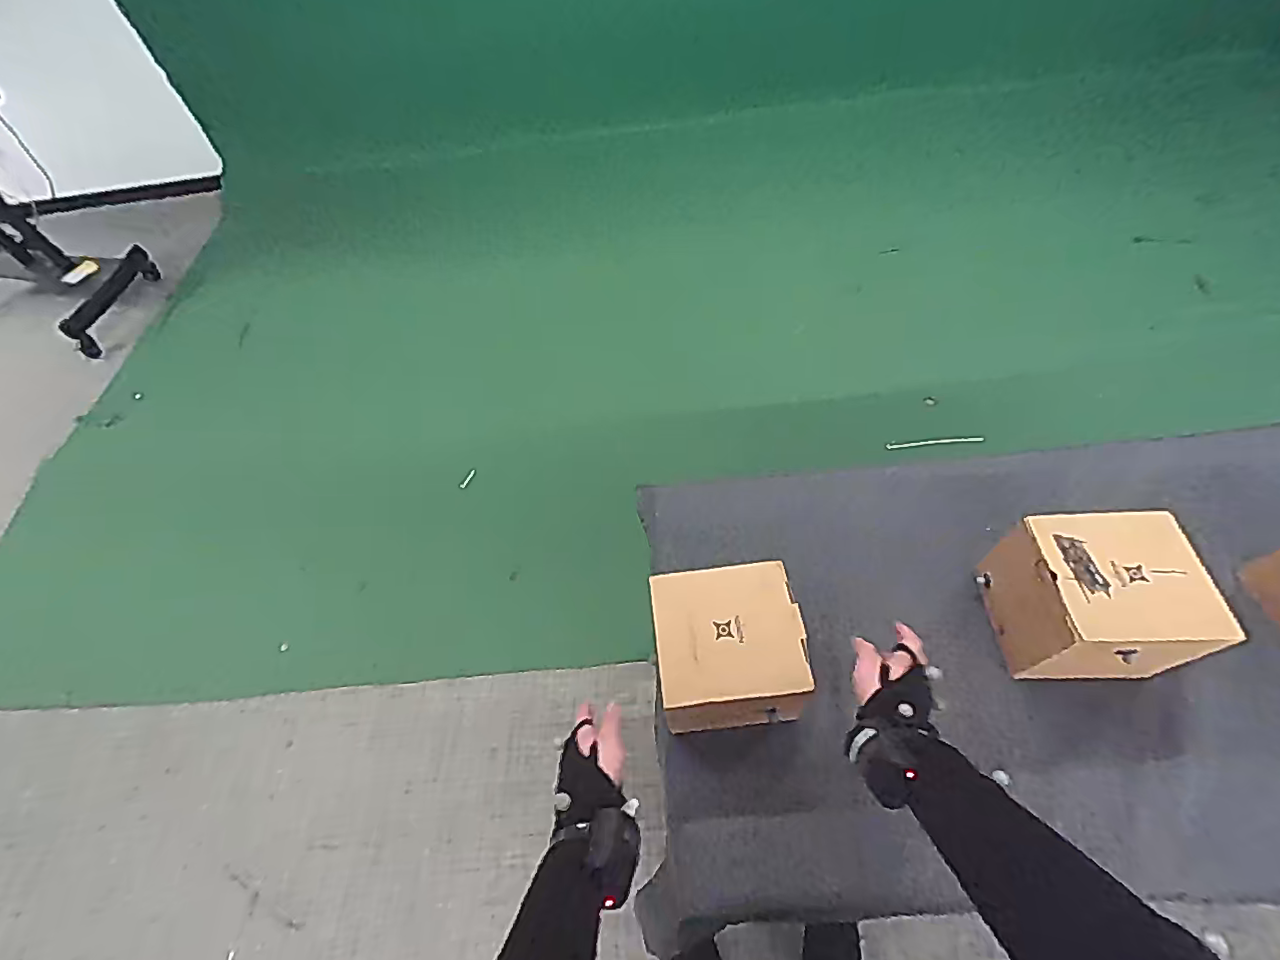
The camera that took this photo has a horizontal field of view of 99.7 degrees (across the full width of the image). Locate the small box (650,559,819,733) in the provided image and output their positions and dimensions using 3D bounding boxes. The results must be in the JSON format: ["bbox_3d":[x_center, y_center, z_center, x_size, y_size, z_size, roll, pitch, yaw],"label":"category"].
[{"bbox_3d":[0.112,0.221,0.704,0.179,0.176,0.168,-8,55,2],"label":"small box"}]

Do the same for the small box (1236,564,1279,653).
[{"bbox_3d":[0.950,0.164,0.682,0.179,0.176,0.168,-10,57,1],"label":"small box"}]

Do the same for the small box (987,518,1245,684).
[{"bbox_3d":[0.585,0.161,0.703,0.179,0.176,0.168,0,58,7],"label":"small box"}]
